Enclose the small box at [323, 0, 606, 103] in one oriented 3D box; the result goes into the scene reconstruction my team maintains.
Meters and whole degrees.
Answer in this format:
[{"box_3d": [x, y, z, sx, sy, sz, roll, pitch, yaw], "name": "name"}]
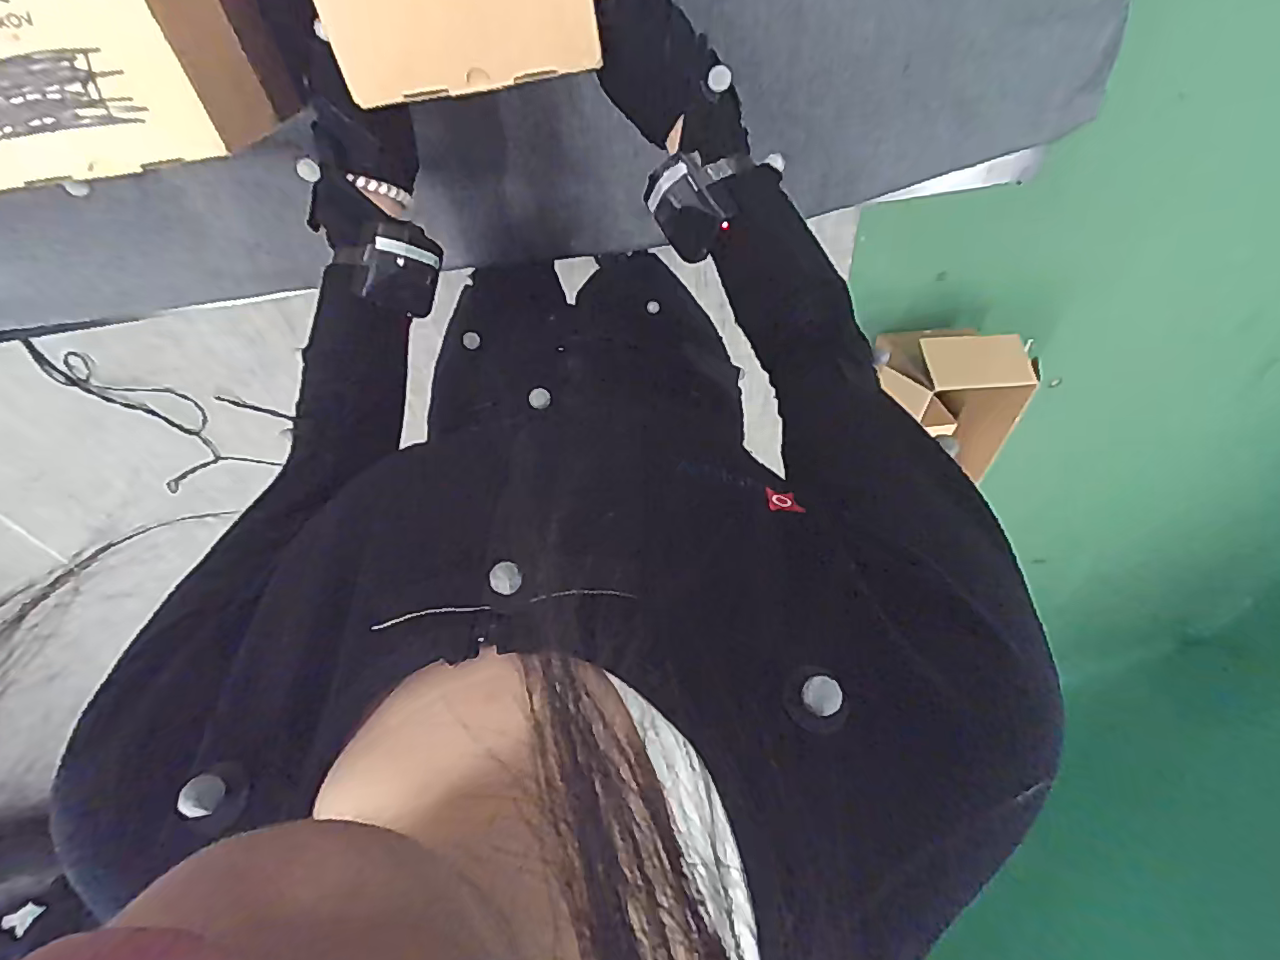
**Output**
[{"box_3d": [-0.125, -0.377, 0.353, 0.168, 0.176, 0.179, -12, 136, -2], "name": "small box"}]
